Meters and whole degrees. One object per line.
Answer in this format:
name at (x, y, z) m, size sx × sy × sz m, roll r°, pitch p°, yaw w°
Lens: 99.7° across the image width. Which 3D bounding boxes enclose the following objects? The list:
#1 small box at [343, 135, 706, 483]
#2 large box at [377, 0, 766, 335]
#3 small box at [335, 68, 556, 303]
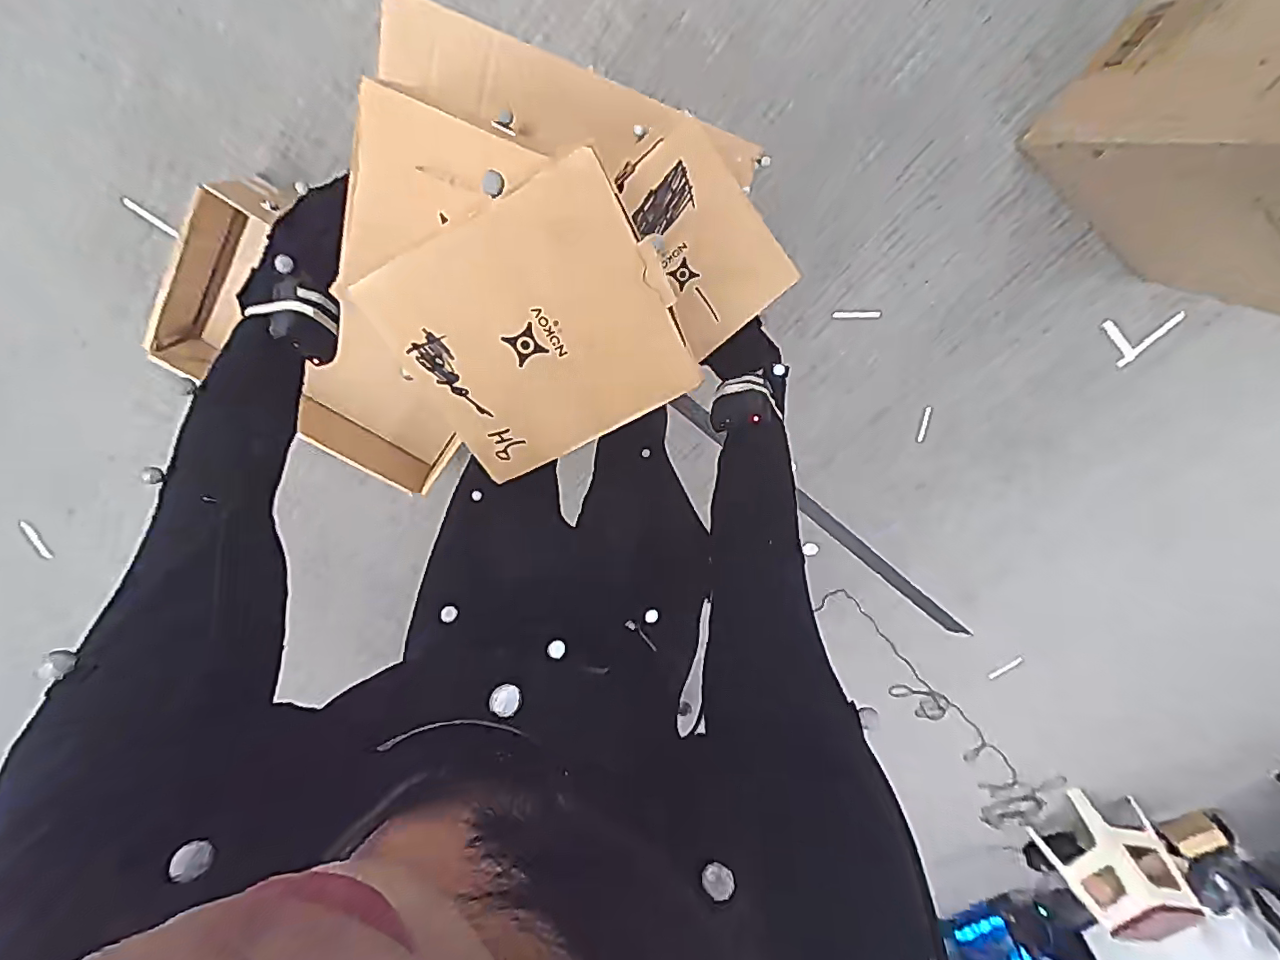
small box at (-0.073, -0.134, 0.410) m, size 0.179 × 0.176 × 0.168 m, roll -25°, pitch 121°, yaw 9°
large box at (-0.112, -0.372, 0.739) m, size 0.408 × 0.320 × 0.320 m, roll 13°, pitch 122°, yaw -16°
small box at (-0.171, -0.253, 0.520) m, size 0.168 × 0.176 × 0.179 m, roll 14°, pitch 120°, yaw -18°
